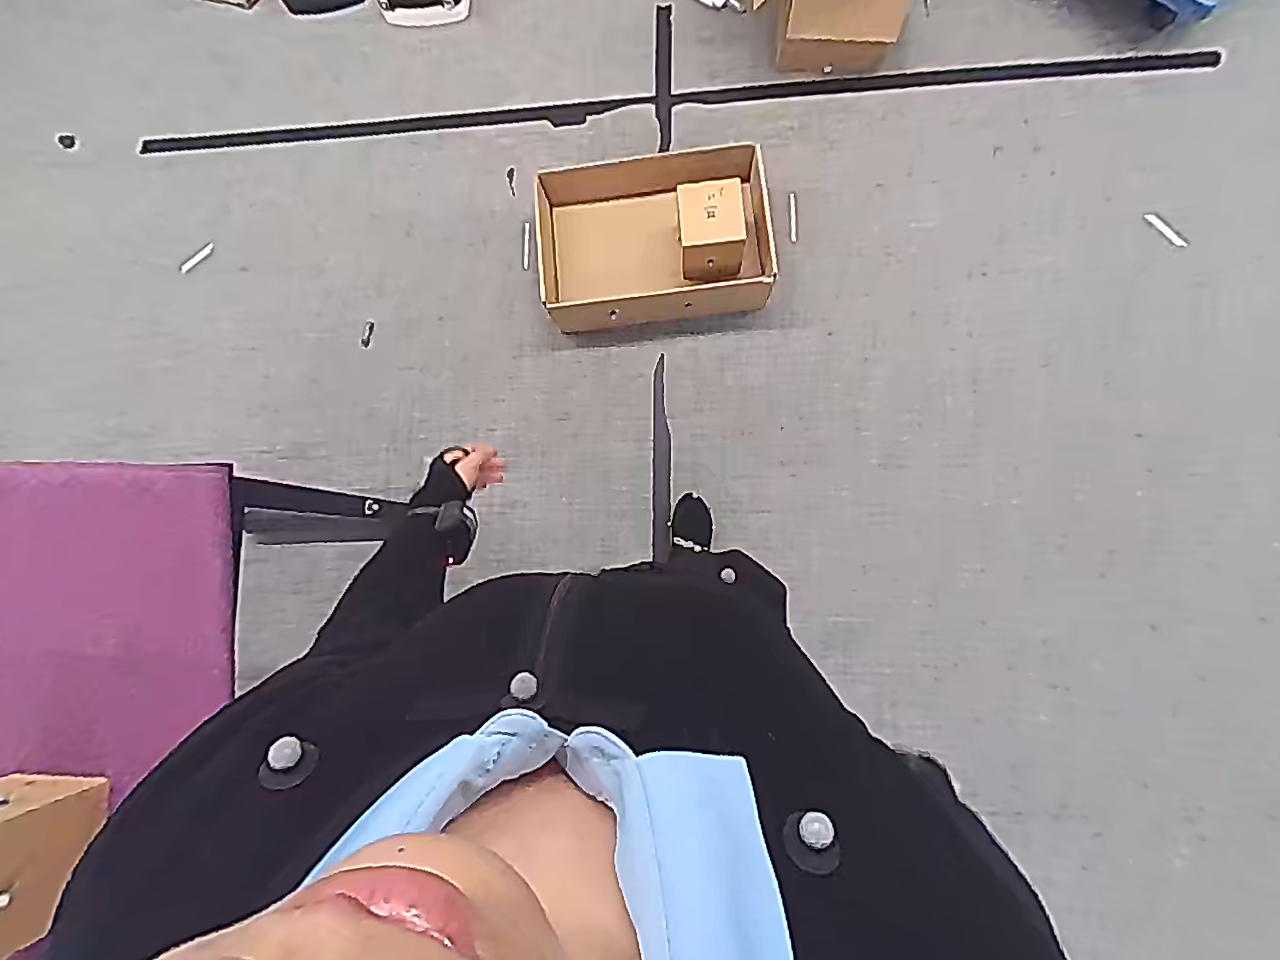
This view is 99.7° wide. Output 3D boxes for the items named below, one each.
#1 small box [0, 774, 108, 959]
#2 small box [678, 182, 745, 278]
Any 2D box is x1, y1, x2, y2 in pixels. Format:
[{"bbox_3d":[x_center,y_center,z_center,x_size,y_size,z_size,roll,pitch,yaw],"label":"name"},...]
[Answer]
[{"bbox_3d":[-0.861,0.508,0.708,0.168,0.176,0.179,0,83,5],"label":"small box"},{"bbox_3d":[0.191,-0.668,1.469,0.168,0.176,0.179,-4,81,4],"label":"small box"}]
